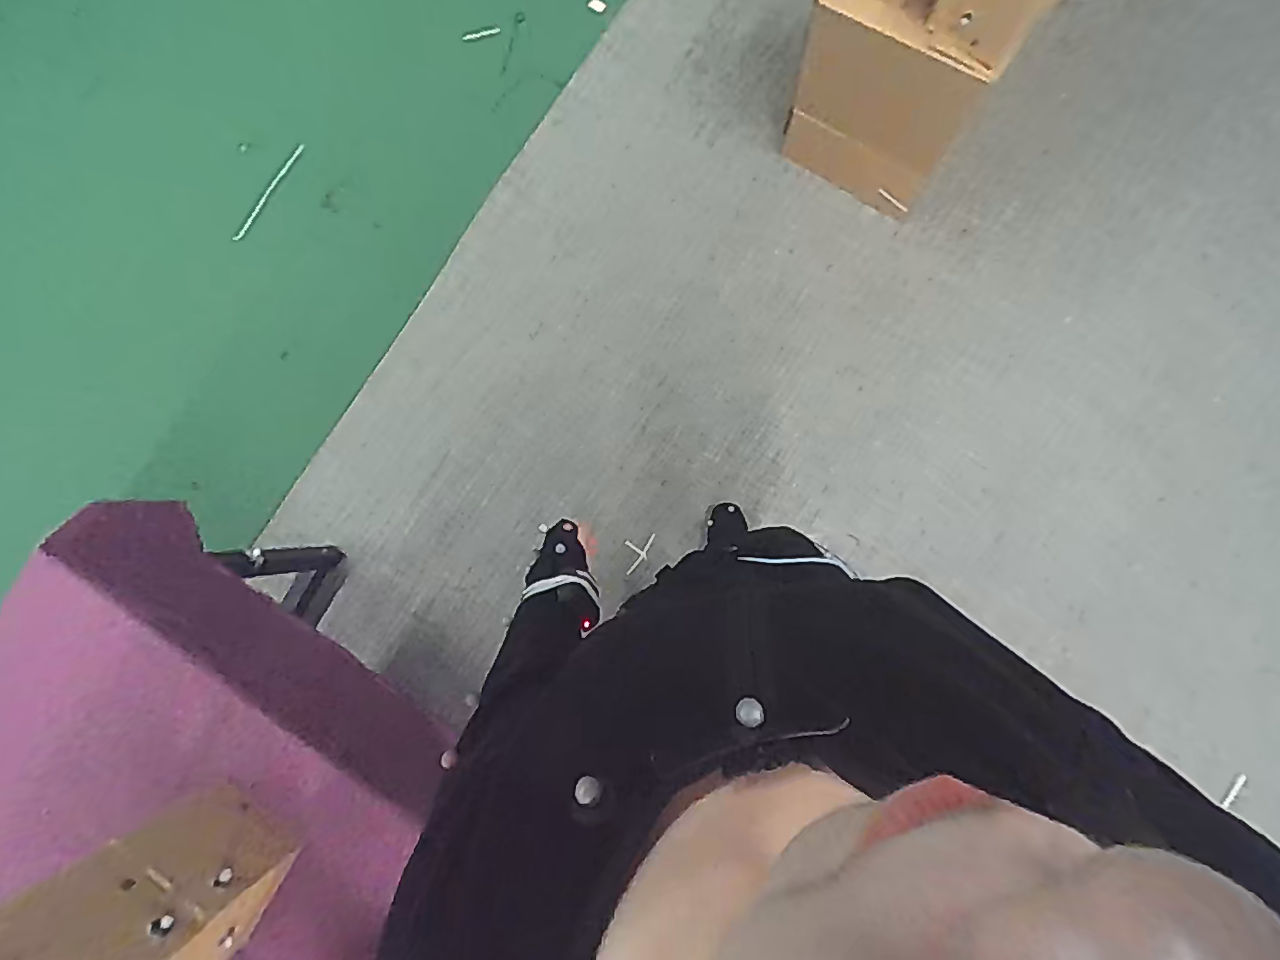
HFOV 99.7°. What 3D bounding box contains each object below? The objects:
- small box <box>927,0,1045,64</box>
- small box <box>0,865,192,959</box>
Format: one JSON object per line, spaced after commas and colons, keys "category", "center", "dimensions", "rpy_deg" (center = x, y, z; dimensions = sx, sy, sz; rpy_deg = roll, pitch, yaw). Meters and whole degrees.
{"category": "small box", "center": [0.673, -0.937, 0.996], "dimensions": [0.168, 0.176, 0.179], "rpy_deg": [40, 90, 9]}
{"category": "small box", "center": [-0.629, 0.562, 0.564], "dimensions": [0.168, 0.176, 0.179], "rpy_deg": [30, 90, 8]}
